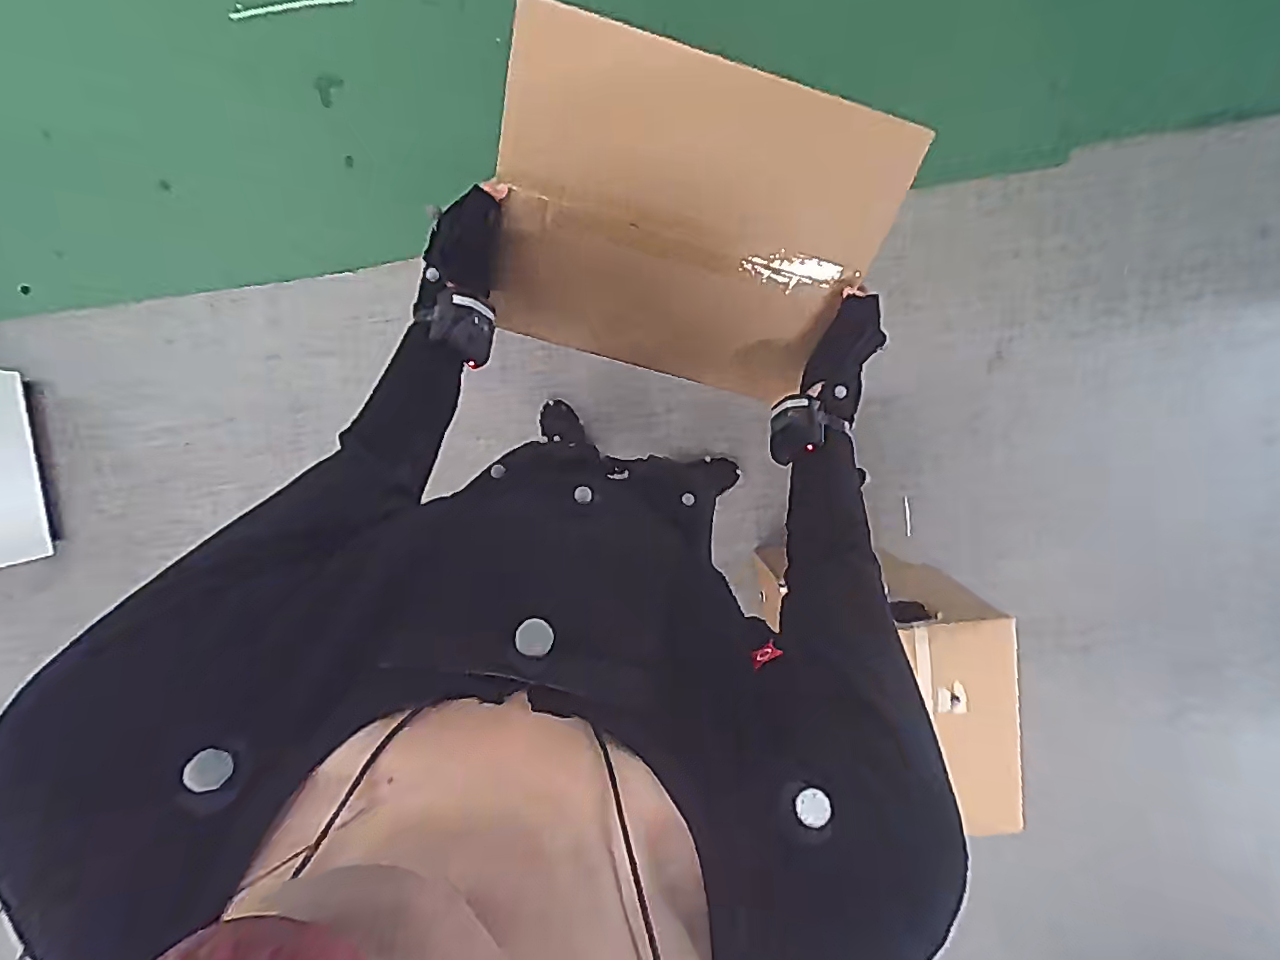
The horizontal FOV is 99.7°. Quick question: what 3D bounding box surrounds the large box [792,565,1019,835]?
[{"bbox_3d":[0.502,0.416,1.088,0.320,0.320,0.408,-6,96,5],"label":"large box"}]
